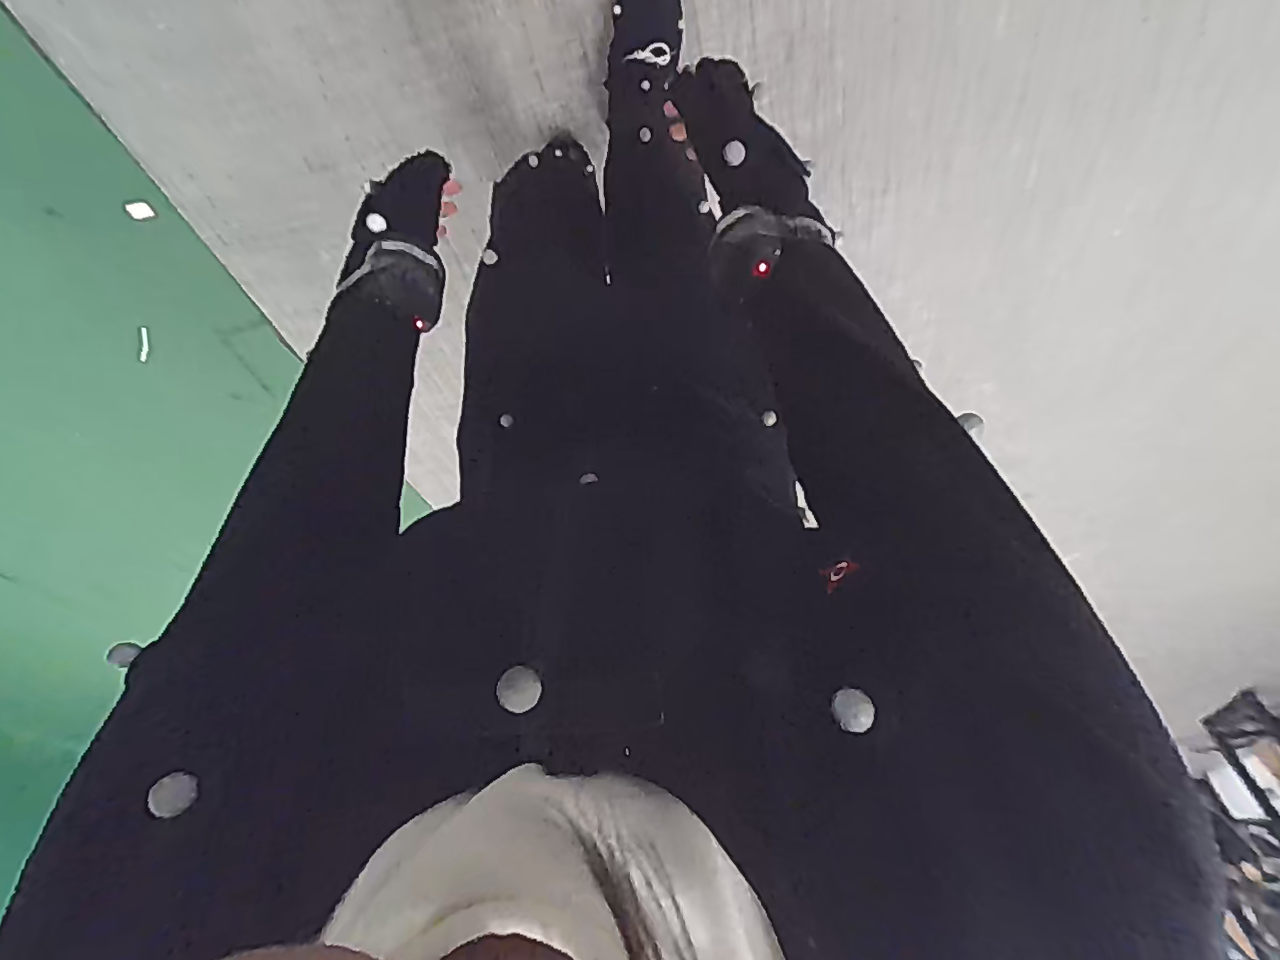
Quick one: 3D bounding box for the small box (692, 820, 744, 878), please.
[{"bbox_3d":[0.308,1.476,2.162,0.179,0.176,0.168,-13,136,13],"label":"small box"}]
